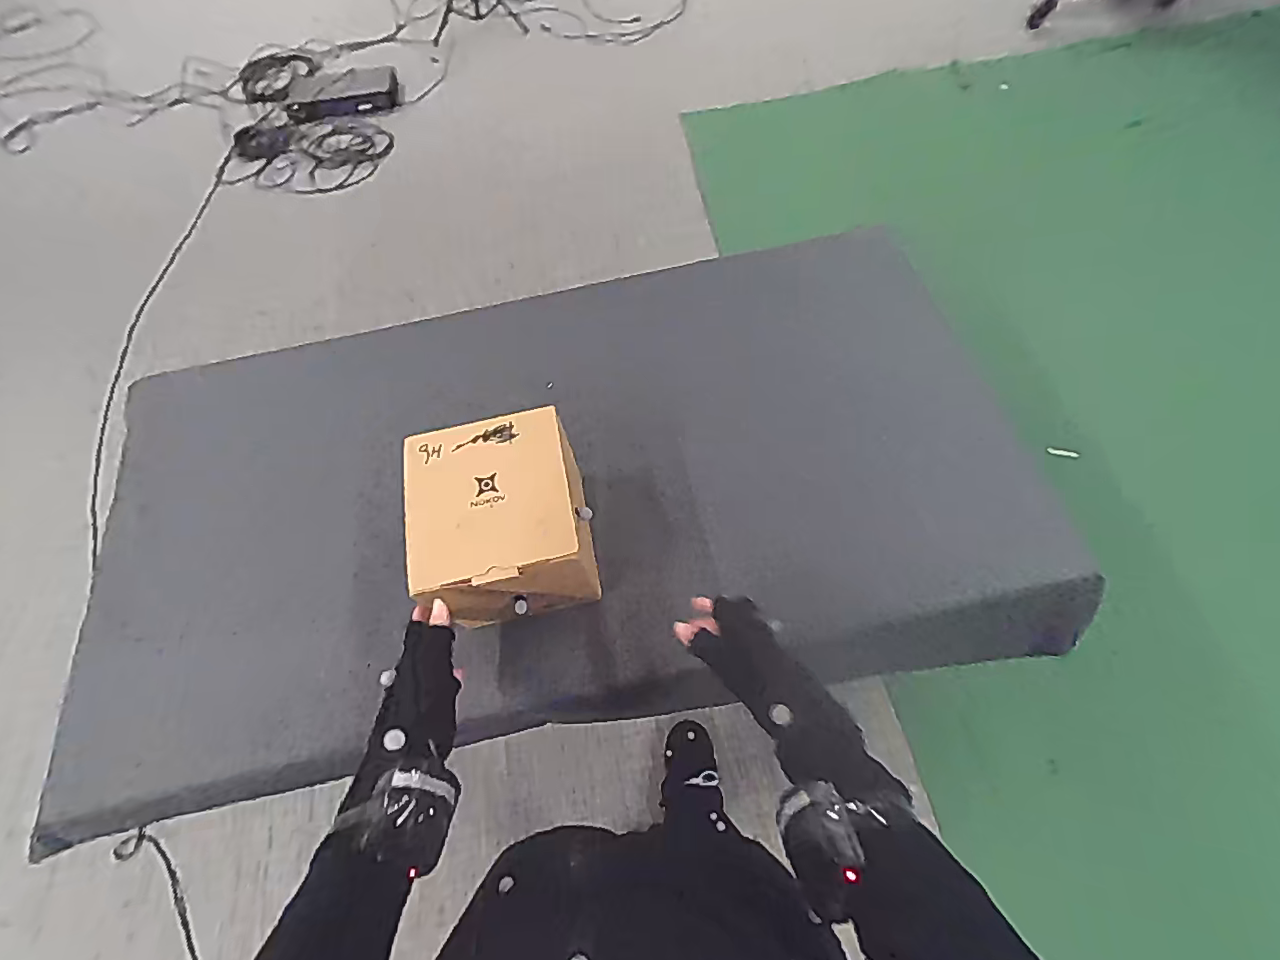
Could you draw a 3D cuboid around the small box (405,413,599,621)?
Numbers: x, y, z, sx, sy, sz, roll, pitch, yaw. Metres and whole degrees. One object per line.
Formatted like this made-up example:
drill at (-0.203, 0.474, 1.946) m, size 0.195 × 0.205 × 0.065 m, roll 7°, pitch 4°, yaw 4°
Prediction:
small box at (-0.148, 0.054, 0.616) m, size 0.168 × 0.176 × 0.179 m, roll -13°, pitch 65°, yaw -2°
